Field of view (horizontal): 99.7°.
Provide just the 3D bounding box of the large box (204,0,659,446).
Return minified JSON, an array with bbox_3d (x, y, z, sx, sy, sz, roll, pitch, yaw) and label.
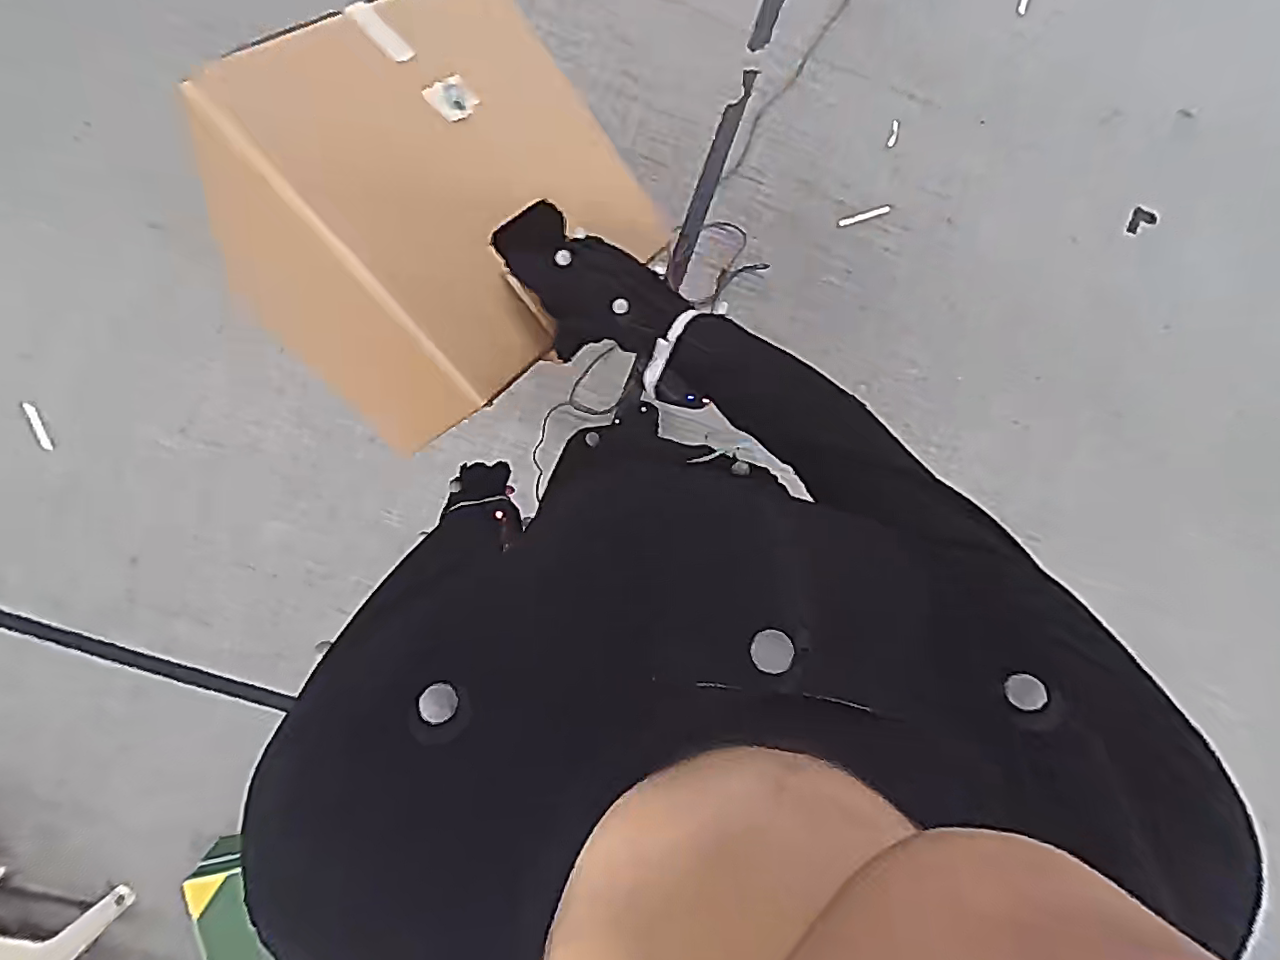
[{"bbox_3d":[-0.258,-0.276,0.682,0.320,0.408,0.320,-48,111,-26],"label":"large box"}]
